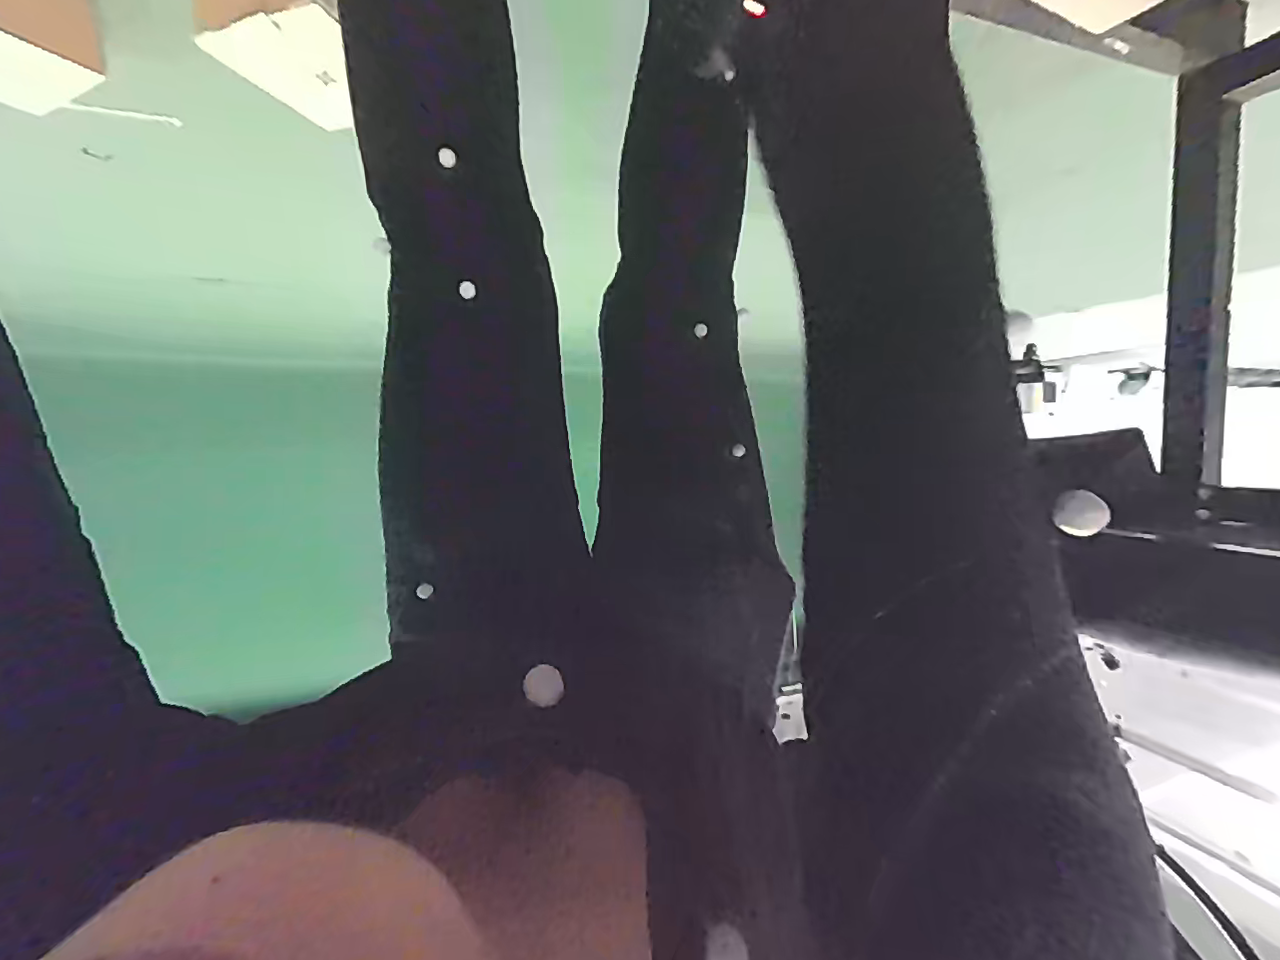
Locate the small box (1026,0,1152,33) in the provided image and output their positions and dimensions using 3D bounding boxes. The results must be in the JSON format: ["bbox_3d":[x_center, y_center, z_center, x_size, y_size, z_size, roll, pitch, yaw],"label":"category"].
[{"bbox_3d":[0.441,-0.547,0.457,0.168,0.176,0.179,-3,-175,-25],"label":"small box"}]

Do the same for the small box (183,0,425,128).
[{"bbox_3d":[-0.366,-0.540,0.607,0.168,0.176,0.179,0,-176,16],"label":"small box"}]
